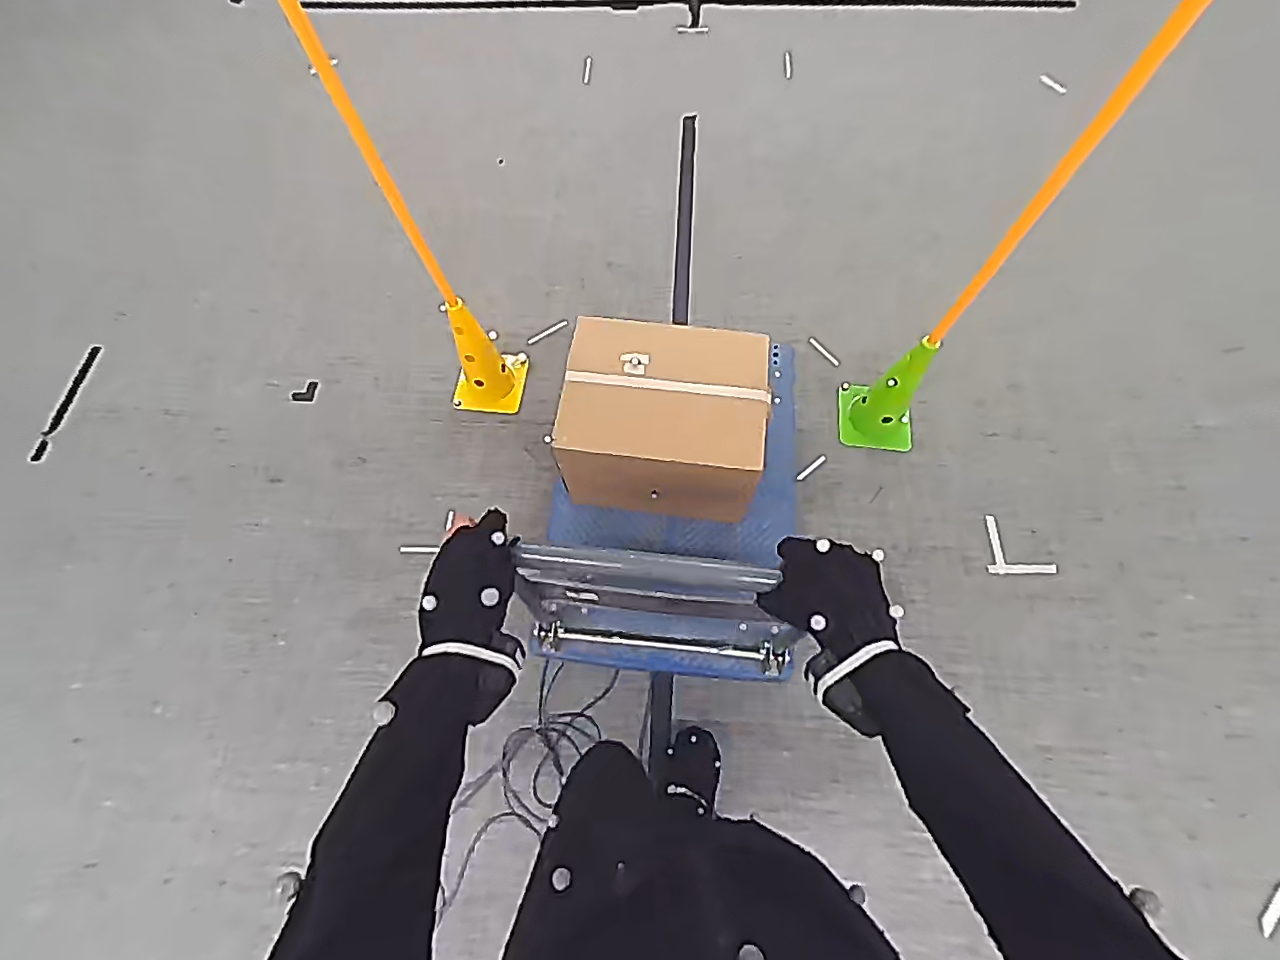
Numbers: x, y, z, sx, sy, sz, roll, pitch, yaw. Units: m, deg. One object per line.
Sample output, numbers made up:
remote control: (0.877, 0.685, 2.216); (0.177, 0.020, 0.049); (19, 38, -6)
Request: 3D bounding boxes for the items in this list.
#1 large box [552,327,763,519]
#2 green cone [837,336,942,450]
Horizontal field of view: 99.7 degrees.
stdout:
large box: (0.050, -0.114, 1.222); (0.408, 0.320, 0.320); (6, 67, 5)
green cone: (0.673, -0.247, 1.413); (0.202, 0.368, 0.200); (6, 68, 3)
